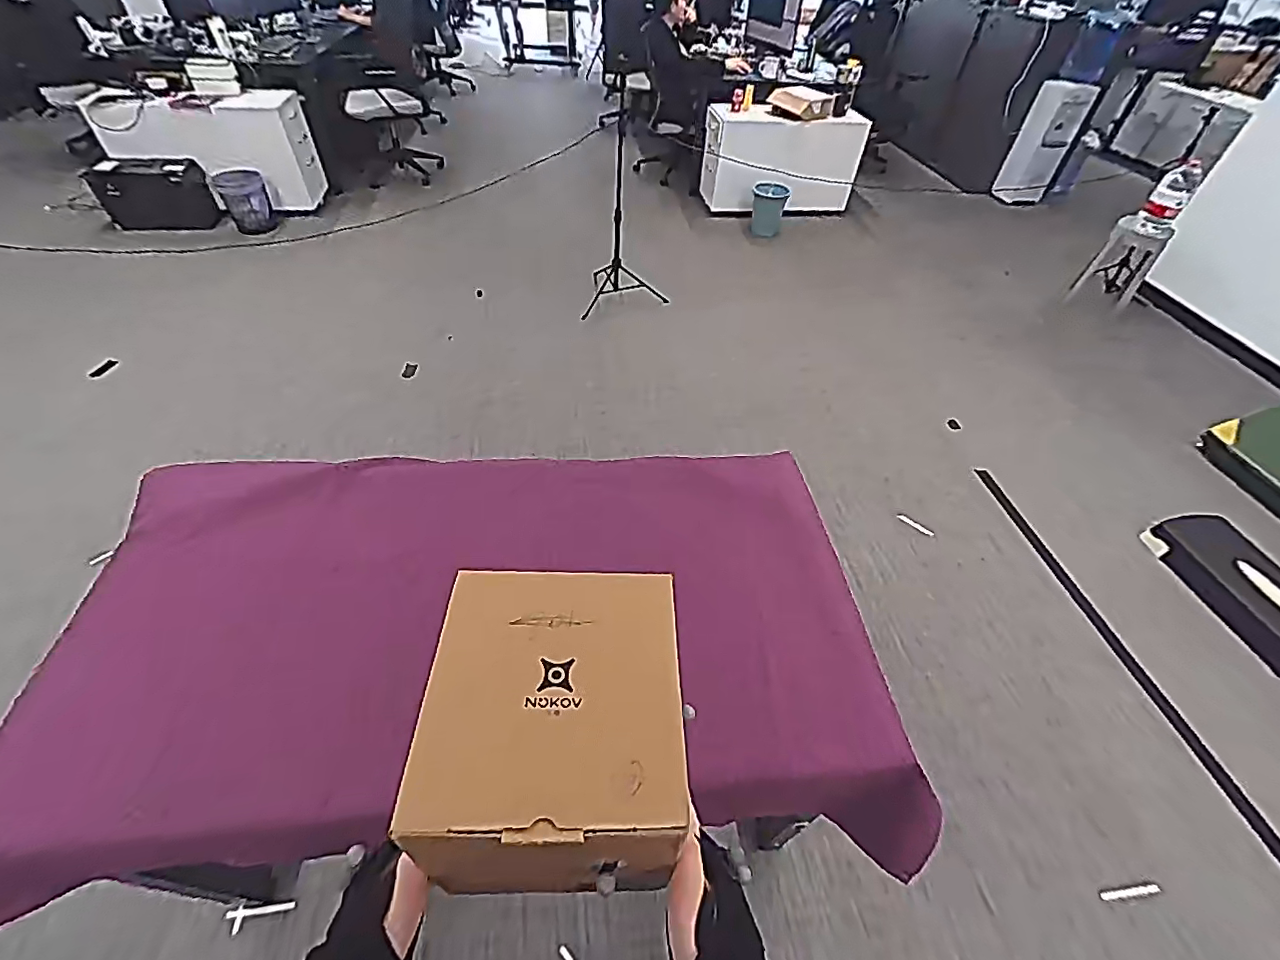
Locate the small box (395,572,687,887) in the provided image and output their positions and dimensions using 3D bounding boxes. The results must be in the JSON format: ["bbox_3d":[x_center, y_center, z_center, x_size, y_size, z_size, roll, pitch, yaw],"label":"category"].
[{"bbox_3d":[-0.058,0.191,0.412,0.168,0.176,0.179,2,44,-3],"label":"small box"}]
